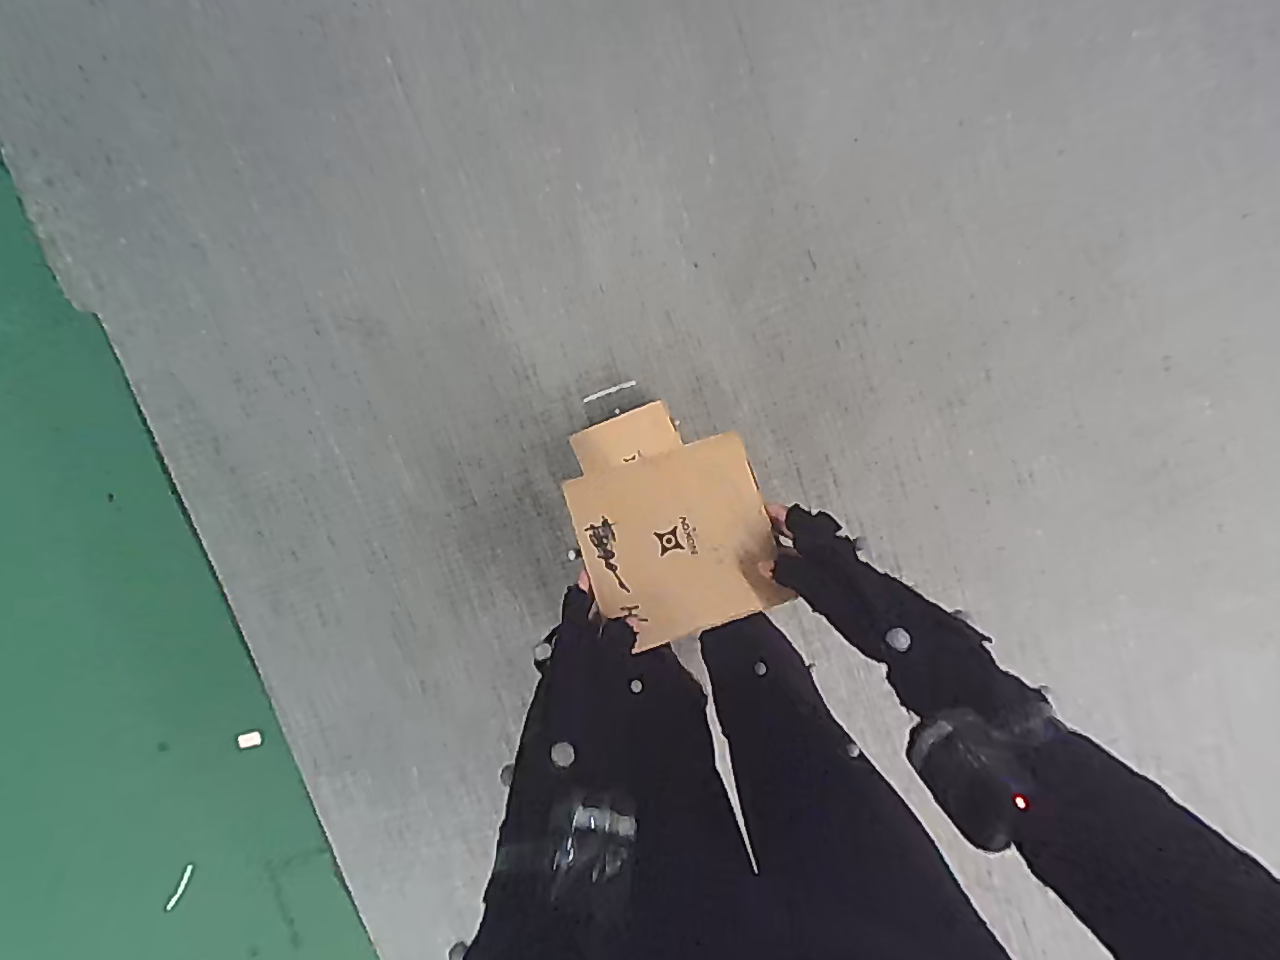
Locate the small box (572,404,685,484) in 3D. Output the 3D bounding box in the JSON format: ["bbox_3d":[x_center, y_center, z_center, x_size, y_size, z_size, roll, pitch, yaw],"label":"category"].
[{"bbox_3d":[-0.006,-0.032,0.995,0.179,0.176,0.168,-23,94,4],"label":"small box"}]

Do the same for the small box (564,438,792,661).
[{"bbox_3d":[0.032,0.074,0.581,0.179,0.176,0.168,-20,80,-4],"label":"small box"}]
